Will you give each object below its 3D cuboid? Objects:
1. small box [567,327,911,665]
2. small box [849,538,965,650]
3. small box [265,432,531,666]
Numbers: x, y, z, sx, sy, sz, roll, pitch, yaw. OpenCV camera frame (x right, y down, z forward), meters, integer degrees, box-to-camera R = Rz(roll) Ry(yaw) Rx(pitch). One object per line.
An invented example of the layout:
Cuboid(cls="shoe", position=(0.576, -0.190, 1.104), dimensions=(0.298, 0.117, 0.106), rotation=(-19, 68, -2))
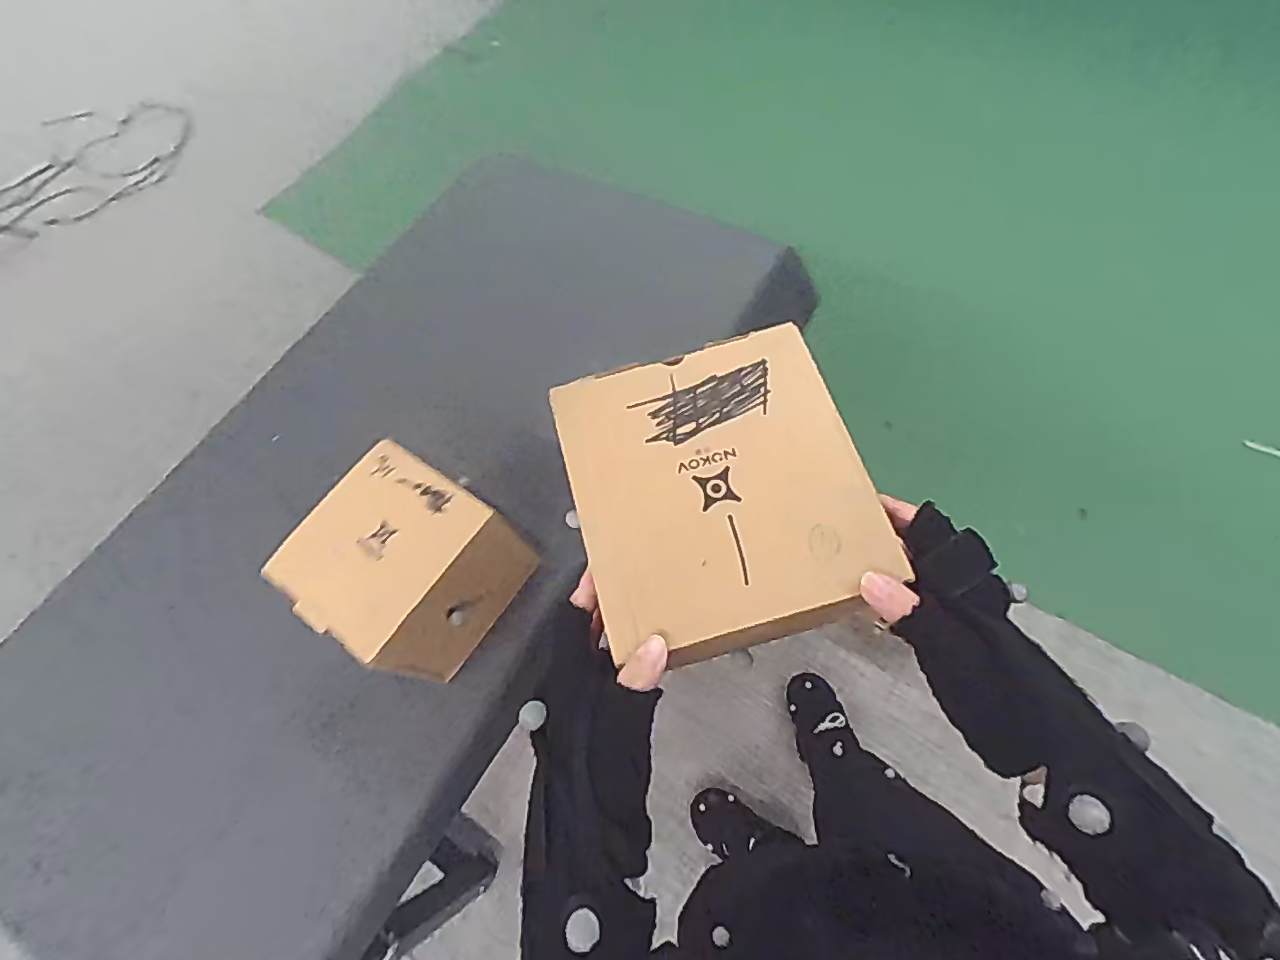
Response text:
Cuboid(cls="small box", position=(0.054, 0.025, 0.390), dimensions=(0.168, 0.176, 0.179), rotation=(-13, 68, 0))
Cuboid(cls="small box", position=(0.596, 0.264, 1.234), dimensions=(0.168, 0.176, 0.179), rotation=(29, 74, 19))
Cuboid(cls="small box", position=(-0.250, 0.086, 0.603), dimensions=(0.168, 0.176, 0.179), rotation=(32, 73, 20))
